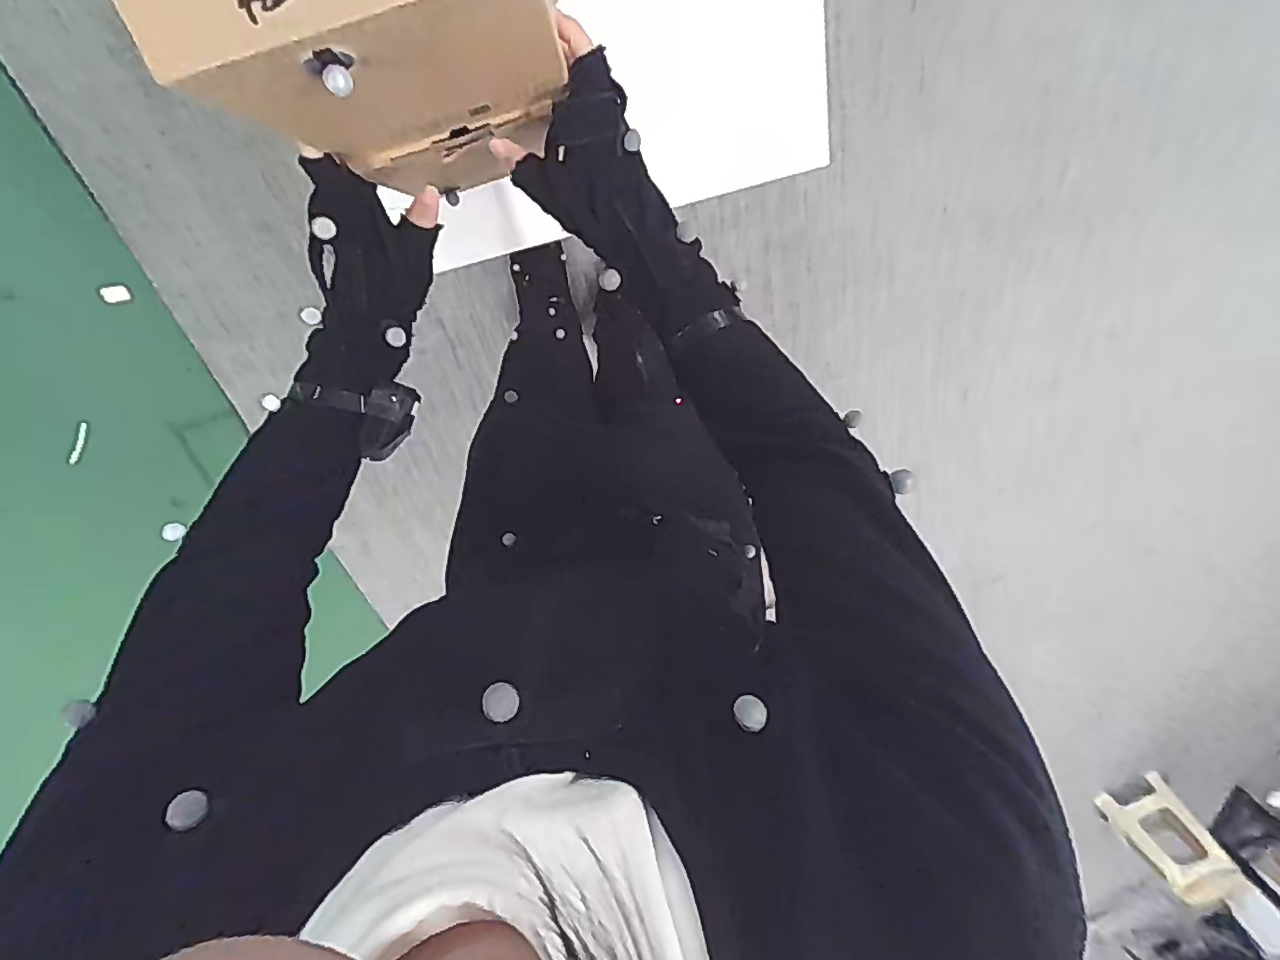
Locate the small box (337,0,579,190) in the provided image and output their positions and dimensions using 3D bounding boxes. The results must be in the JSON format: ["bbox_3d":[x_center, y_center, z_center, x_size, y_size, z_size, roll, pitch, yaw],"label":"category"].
[{"bbox_3d":[-0.153,-0.346,0.424,0.168,0.176,0.179,-16,110,4],"label":"small box"}]

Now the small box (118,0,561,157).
[{"bbox_3d":[-0.148,-0.294,0.269,0.168,0.176,0.179,-15,110,4],"label":"small box"}]
